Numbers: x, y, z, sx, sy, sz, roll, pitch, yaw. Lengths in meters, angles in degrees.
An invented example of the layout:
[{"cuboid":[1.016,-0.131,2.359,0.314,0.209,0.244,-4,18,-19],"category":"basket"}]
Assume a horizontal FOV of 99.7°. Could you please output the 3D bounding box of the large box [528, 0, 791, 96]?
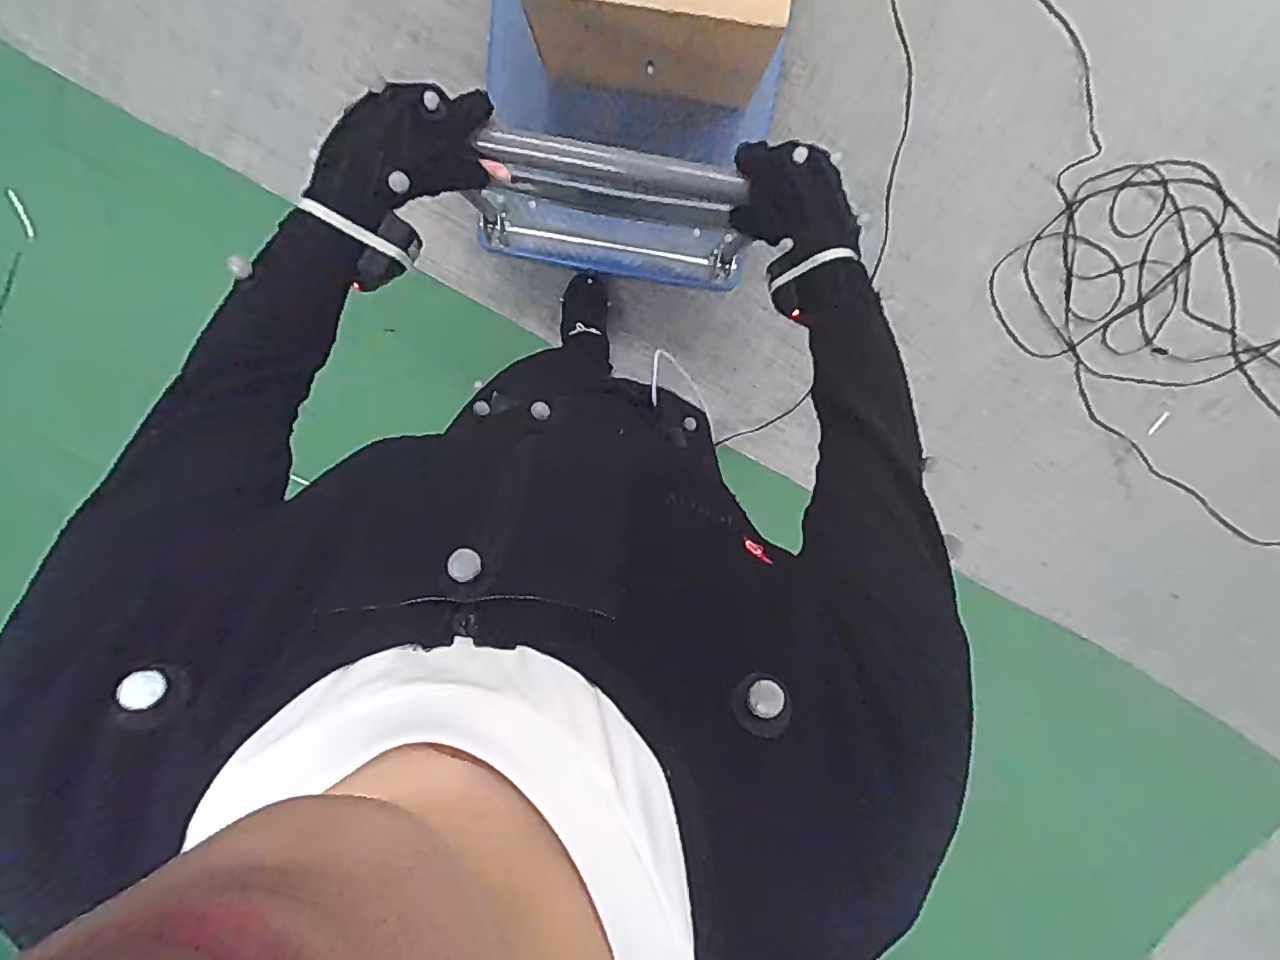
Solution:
[{"cuboid":[0.040,-0.890,0.900,0.408,0.320,0.320,6,106,-2],"category":"large box"}]
